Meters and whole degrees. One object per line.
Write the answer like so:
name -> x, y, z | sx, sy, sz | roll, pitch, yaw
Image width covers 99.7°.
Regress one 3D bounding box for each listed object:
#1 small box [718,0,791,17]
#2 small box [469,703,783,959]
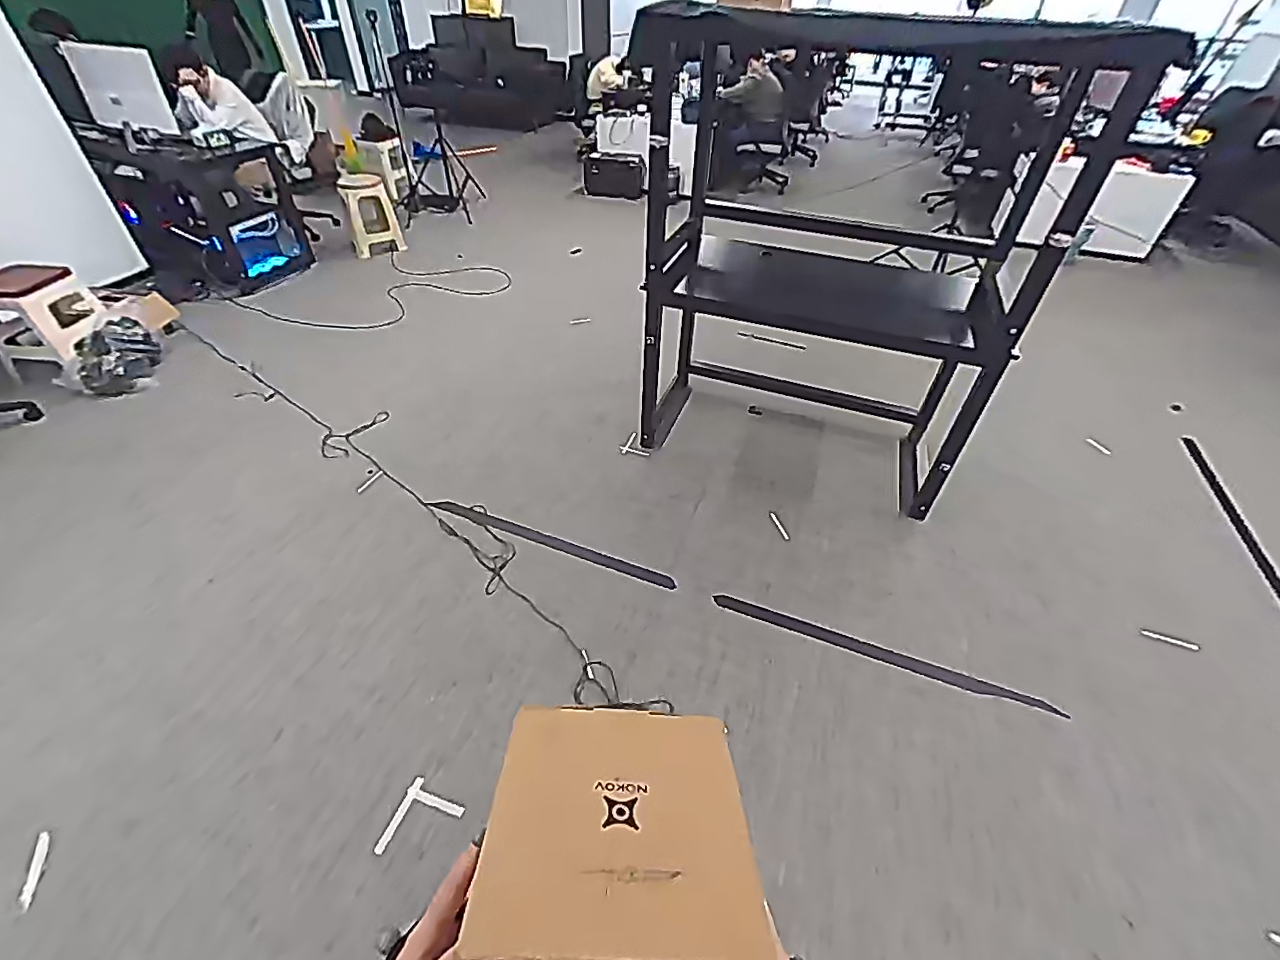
small box -> 0.301, -1.280, 1.361 | 0.168, 0.176, 0.179 | 17, 42, 13
small box -> -0.018, 0.288, 0.377 | 0.168, 0.176, 0.179 | 5, 20, -4
